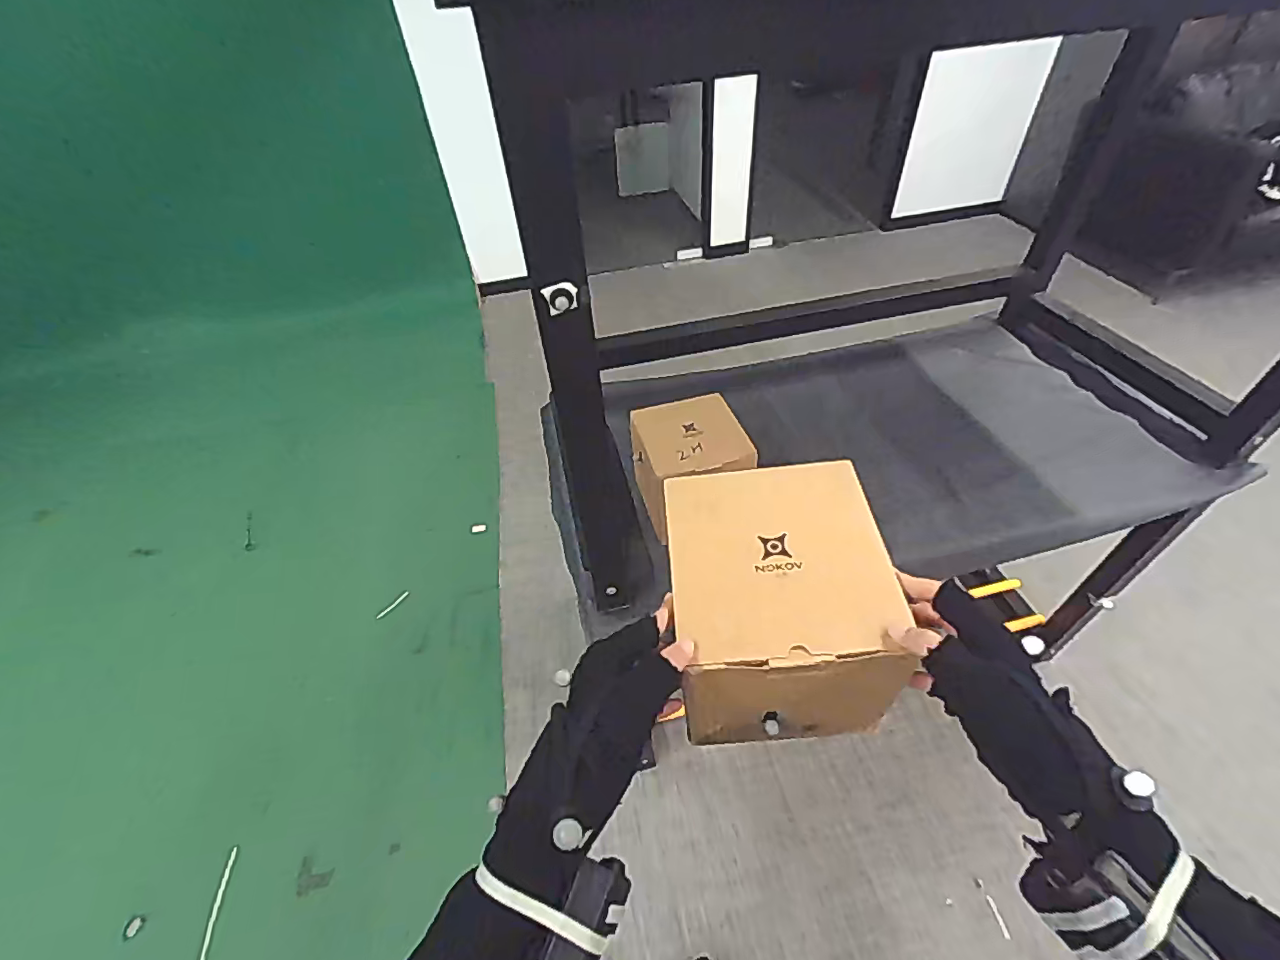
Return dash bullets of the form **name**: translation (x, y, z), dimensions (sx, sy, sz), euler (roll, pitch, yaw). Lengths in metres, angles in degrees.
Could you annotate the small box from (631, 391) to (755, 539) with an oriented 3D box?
- **small box**: translation (0.085, -0.026, 0.941), dimensions (0.168, 0.176, 0.179), euler (-13, 46, -7)
